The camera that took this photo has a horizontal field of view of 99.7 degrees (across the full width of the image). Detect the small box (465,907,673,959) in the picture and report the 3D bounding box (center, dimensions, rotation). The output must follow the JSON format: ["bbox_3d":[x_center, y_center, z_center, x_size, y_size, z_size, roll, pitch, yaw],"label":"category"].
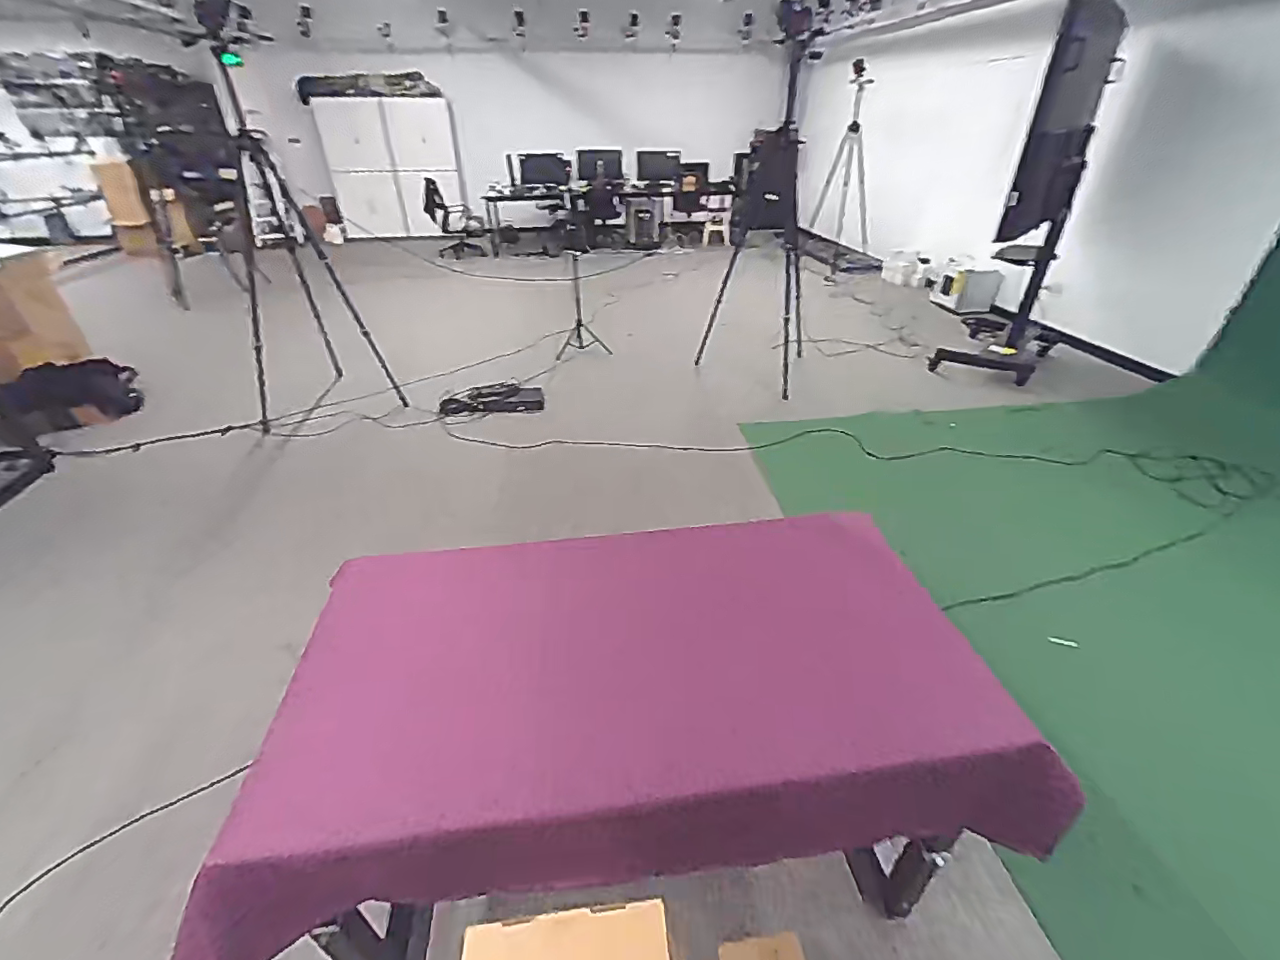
[{"bbox_3d":[-0.048,0.479,0.433,0.168,0.176,0.179,-6,39,0],"label":"small box"}]
